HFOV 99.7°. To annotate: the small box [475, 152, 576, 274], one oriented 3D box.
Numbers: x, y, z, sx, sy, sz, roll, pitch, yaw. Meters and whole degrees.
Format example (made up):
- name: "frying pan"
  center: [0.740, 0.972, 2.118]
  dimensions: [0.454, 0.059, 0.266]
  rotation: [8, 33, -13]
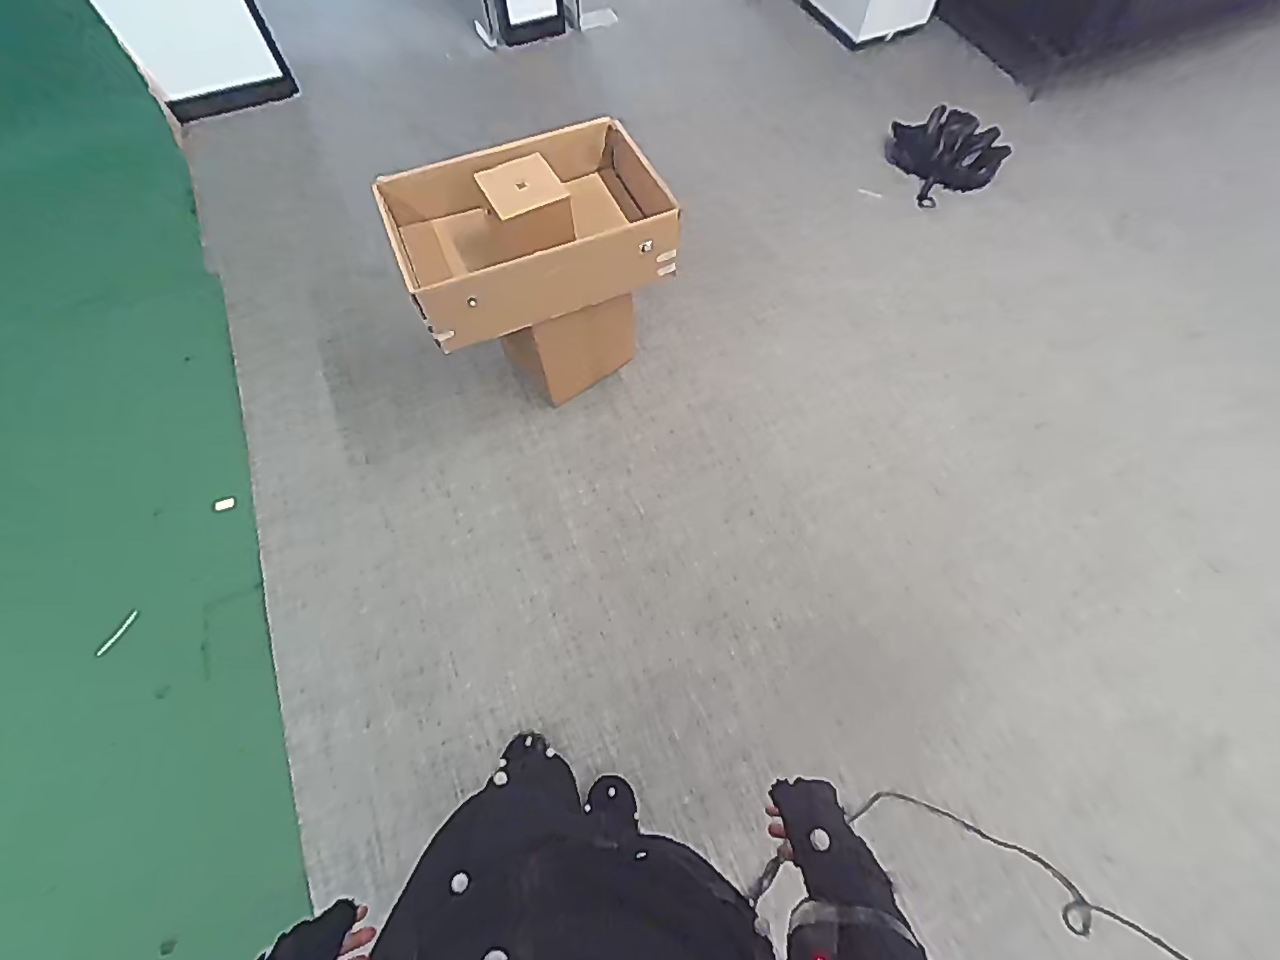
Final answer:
- name: "small box"
  center: [-0.264, -0.626, 1.276]
  dimensions: [0.168, 0.176, 0.179]
  rotation: [-26, 67, -11]
